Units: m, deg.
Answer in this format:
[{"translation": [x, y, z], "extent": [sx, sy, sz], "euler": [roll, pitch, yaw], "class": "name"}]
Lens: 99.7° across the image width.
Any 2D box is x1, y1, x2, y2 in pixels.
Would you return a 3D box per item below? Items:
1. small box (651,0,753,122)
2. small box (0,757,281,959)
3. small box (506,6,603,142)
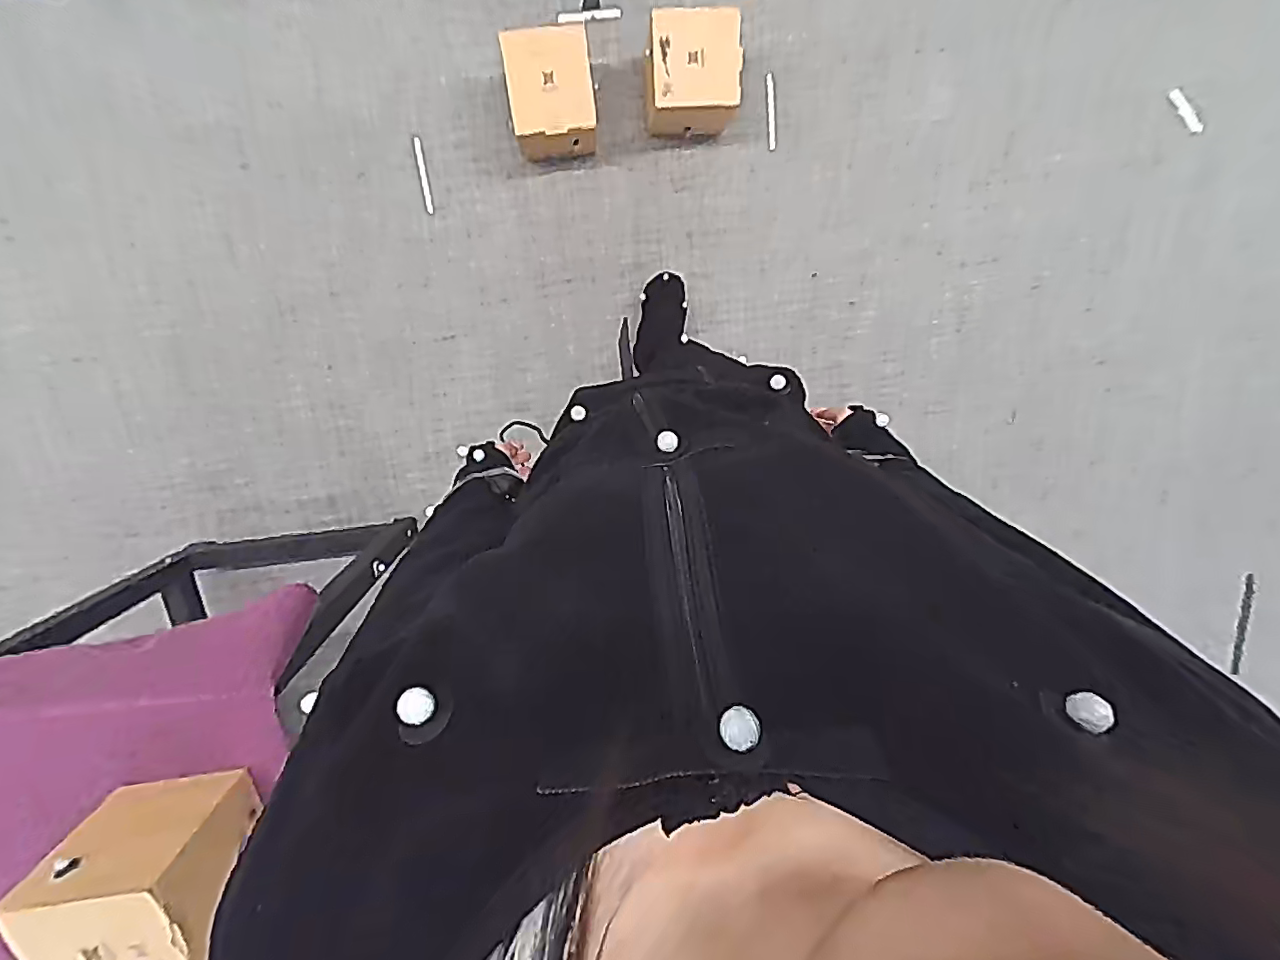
[{"translation": [0.121, -0.862, 1.116], "extent": [0.179, 0.176, 0.168], "euler": [-3, 107, -5], "class": "small box"}, {"translation": [-0.600, 0.480, 0.675], "extent": [0.179, 0.176, 0.168], "euler": [-7, 108, -3], "class": "small box"}, {"translation": [-0.167, -0.814, 1.105], "extent": [0.168, 0.176, 0.179], "euler": [-8, 106, -4], "class": "small box"}]
